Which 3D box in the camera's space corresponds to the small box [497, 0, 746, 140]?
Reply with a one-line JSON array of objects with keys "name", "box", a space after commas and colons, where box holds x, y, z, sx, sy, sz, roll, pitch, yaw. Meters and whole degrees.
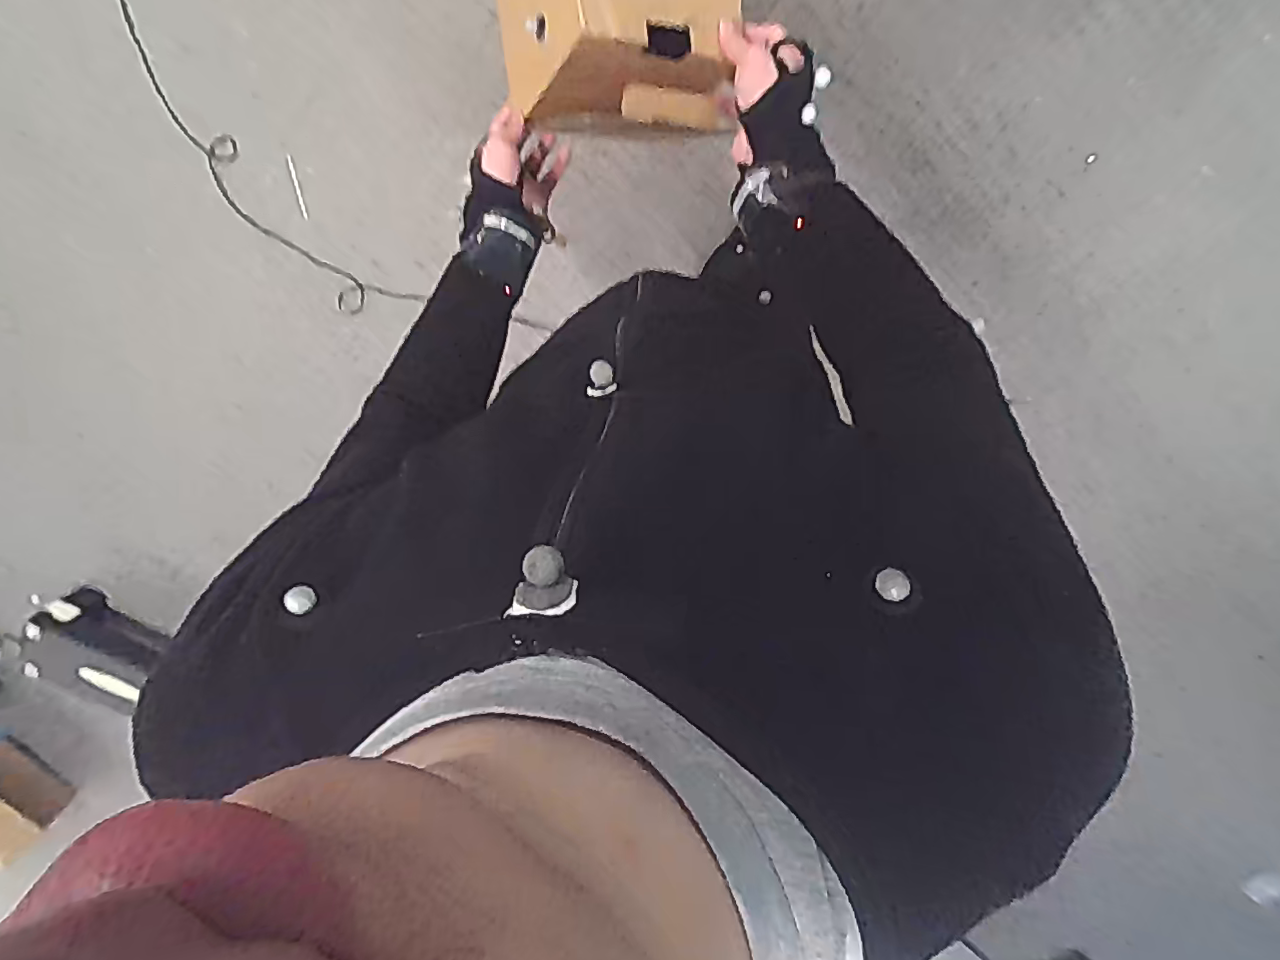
[{"name": "small box", "box": [-0.028, -0.444, 0.491, 0.168, 0.179, 0.176, -13, 103, -29]}]
